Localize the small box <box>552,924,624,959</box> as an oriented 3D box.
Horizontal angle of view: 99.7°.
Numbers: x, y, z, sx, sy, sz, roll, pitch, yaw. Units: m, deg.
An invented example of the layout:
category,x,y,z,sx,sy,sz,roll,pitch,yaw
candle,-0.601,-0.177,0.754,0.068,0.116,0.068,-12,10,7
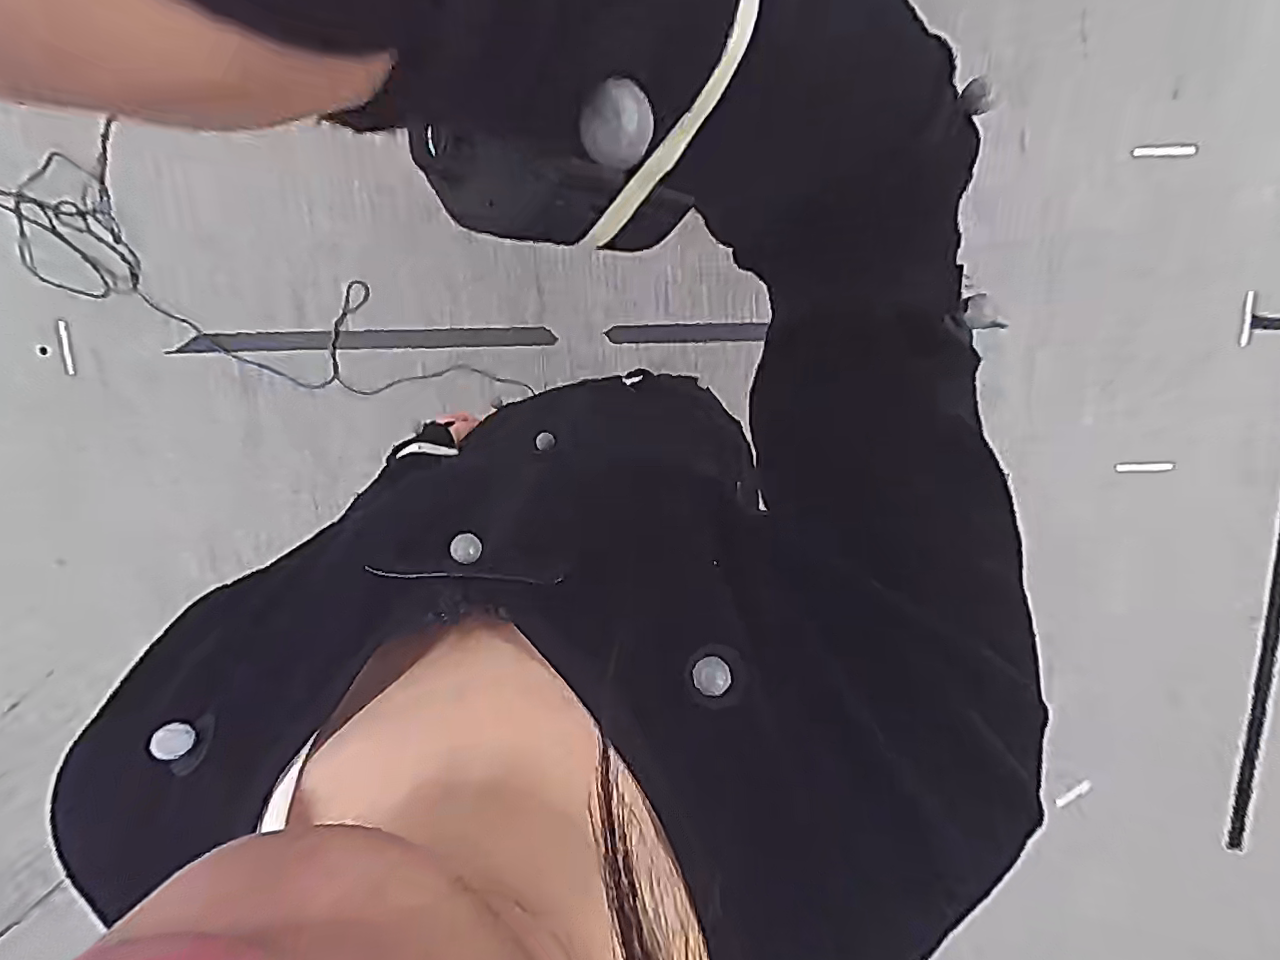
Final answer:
category,x,y,z,sx,sy,sz,roll,pitch,yaw
small box,-0.126,1.222,1.311,0.179,0.176,0.168,-2,98,1
